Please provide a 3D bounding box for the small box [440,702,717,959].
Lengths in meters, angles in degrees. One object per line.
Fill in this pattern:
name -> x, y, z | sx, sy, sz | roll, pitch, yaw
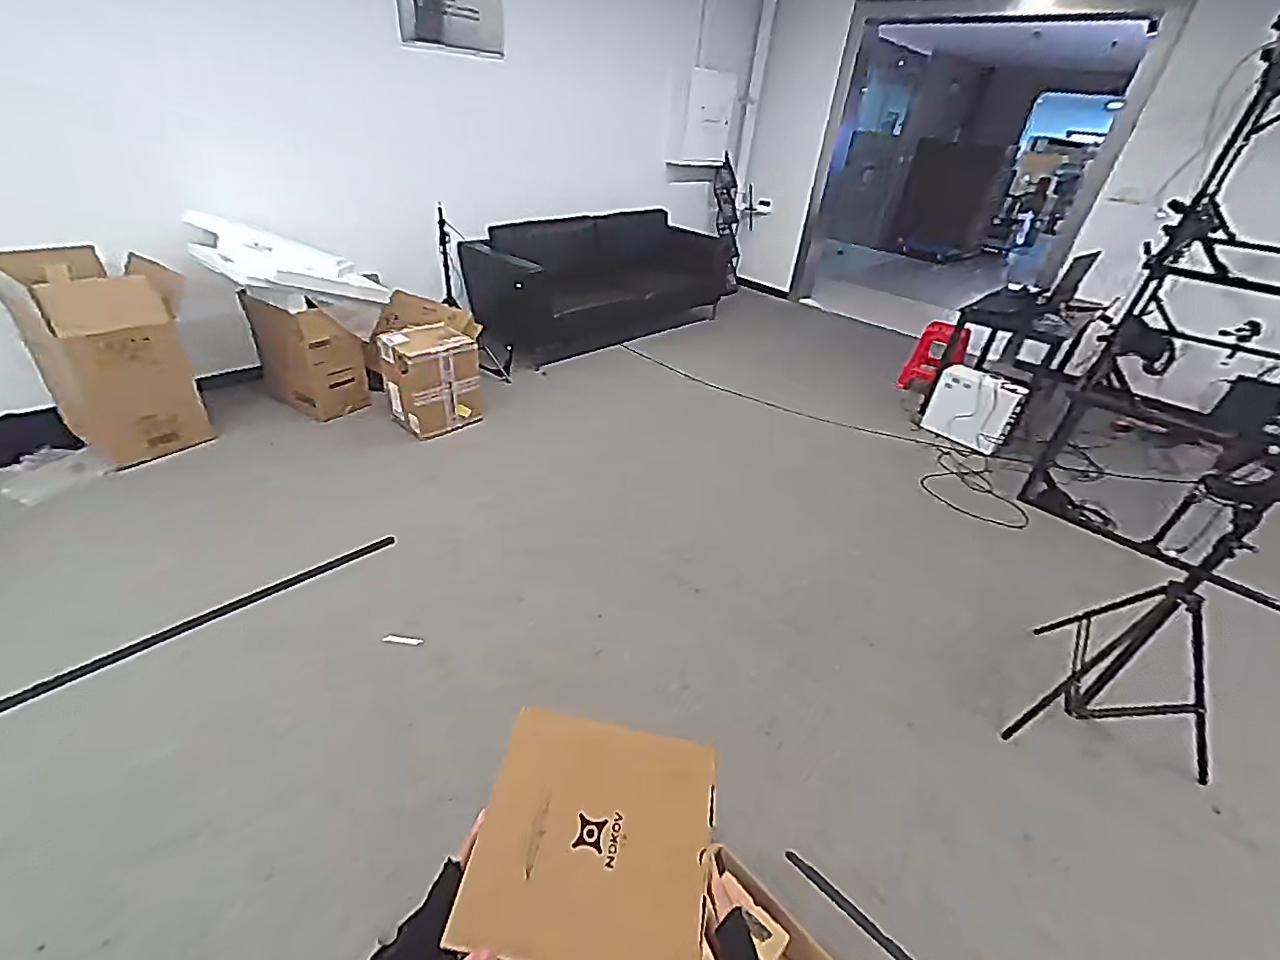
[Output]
small box -> -0.037, 0.318, 0.459 | 0.179, 0.176, 0.168 | 8, 43, 5
